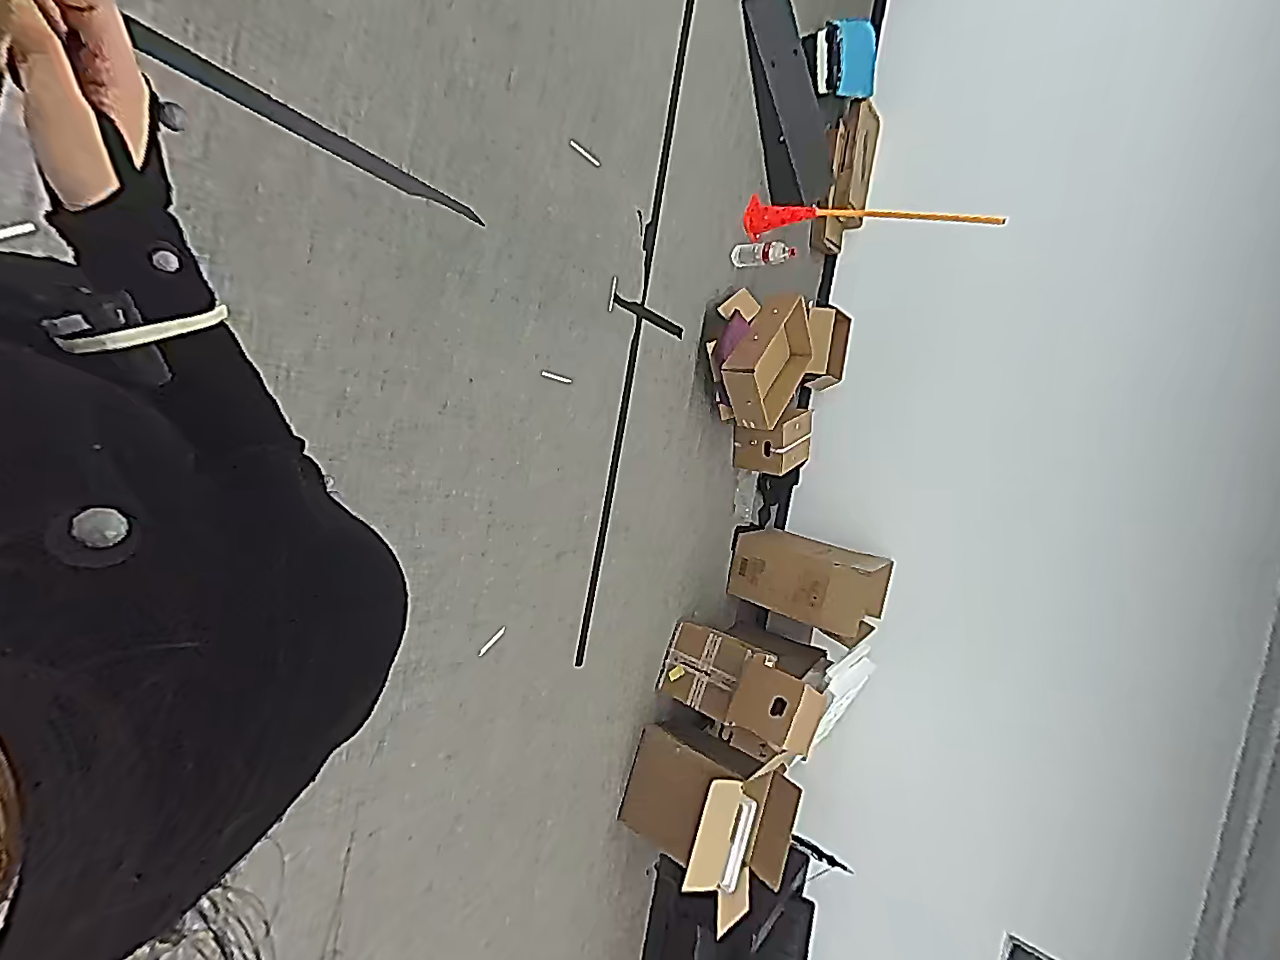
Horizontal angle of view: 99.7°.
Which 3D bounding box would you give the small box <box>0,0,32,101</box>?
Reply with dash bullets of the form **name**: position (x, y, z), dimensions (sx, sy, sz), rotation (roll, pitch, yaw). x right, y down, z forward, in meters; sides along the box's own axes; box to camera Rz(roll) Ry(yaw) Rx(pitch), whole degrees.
- **small box**: position (-0.335, -0.273, 0.183), dimensions (0.168, 0.176, 0.179), rotation (-6, 101, -52)
